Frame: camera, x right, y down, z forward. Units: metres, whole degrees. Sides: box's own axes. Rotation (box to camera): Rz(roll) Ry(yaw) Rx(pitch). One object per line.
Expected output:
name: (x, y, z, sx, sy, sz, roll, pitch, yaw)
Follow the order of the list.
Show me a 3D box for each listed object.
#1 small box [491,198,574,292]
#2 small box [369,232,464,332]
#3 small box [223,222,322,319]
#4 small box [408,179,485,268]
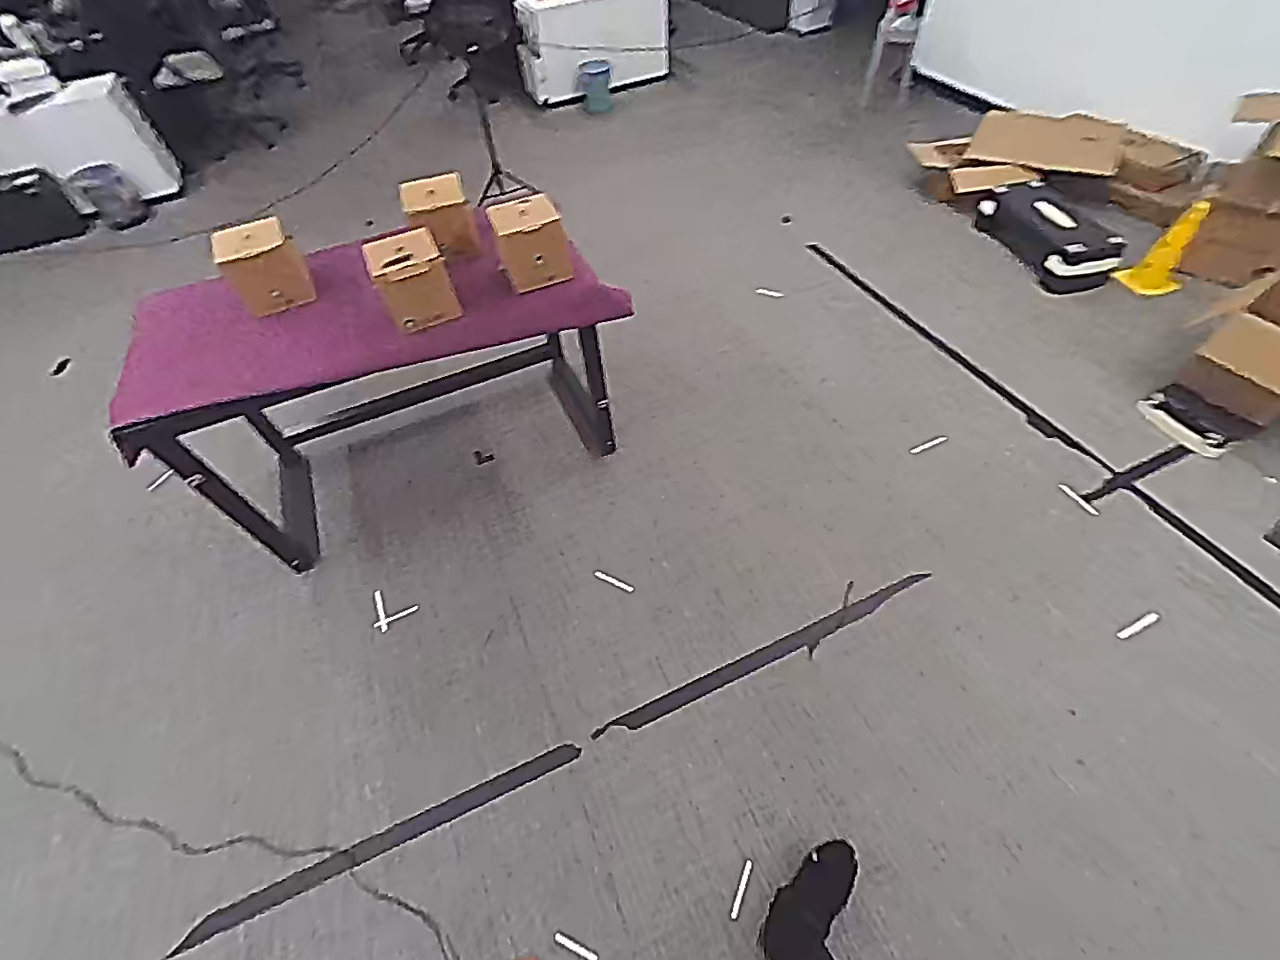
small box: (-0.290, -0.638, 1.484, 0.168, 0.176, 0.179, -20, 52, -10)
small box: (-0.578, -0.509, 1.412, 0.168, 0.176, 0.179, -23, 54, -12)
small box: (-1.016, -0.578, 1.499, 0.168, 0.176, 0.179, -24, 56, -13)
small box: (-0.571, -0.753, 1.599, 0.168, 0.176, 0.179, -17, 55, -8)
